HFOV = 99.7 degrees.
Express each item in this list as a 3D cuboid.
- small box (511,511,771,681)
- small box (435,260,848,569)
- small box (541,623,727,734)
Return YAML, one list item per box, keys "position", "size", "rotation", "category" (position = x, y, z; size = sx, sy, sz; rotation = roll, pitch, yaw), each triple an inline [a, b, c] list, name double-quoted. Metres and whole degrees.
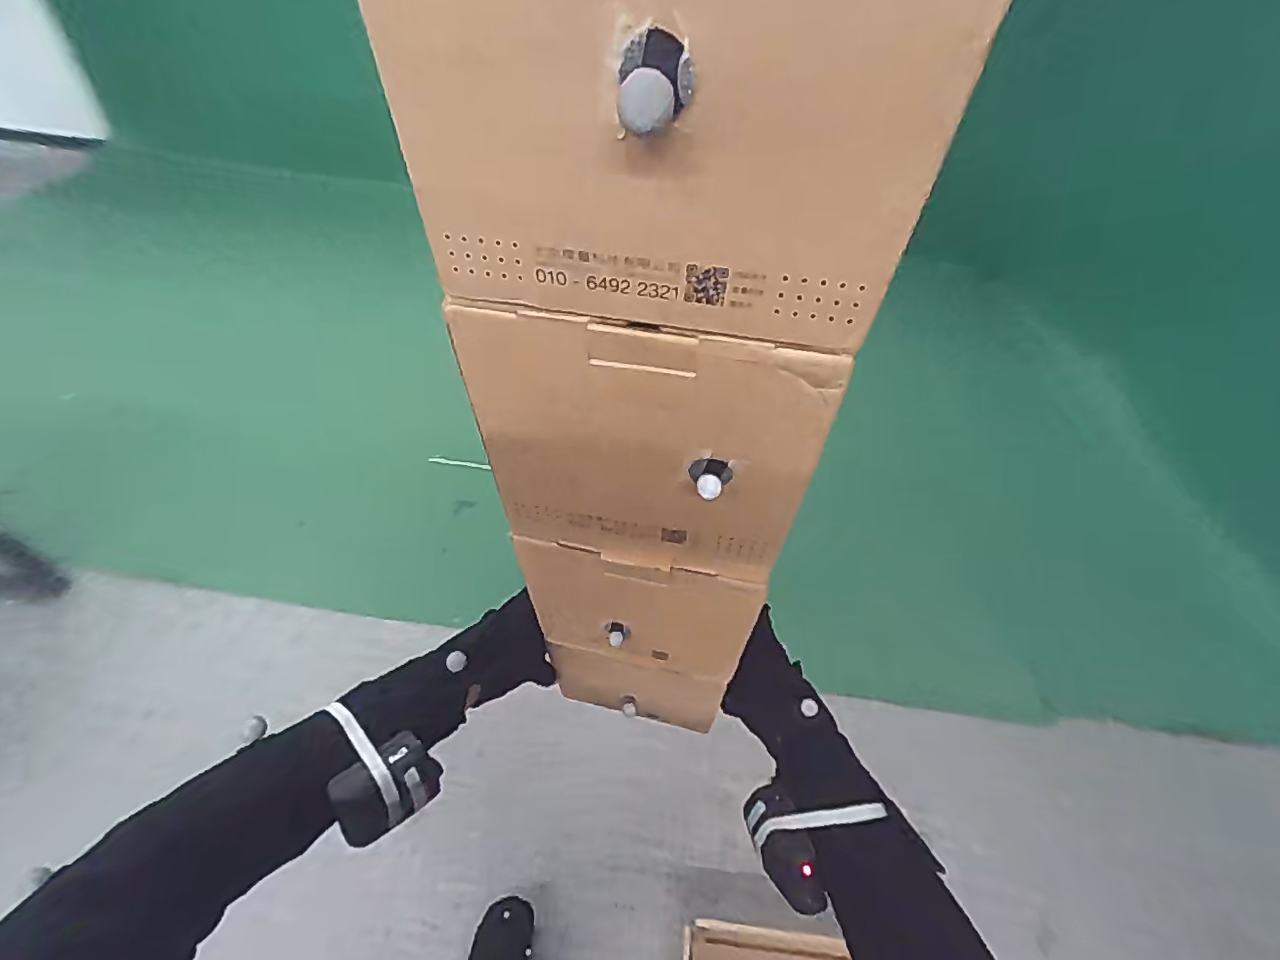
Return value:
- position: [0.012, 0.038, 0.442]
  size: [0.168, 0.176, 0.179]
  rotation: [10, 52, 7]
  category: "small box"
- position: [0.012, -0.068, 0.318]
  size: [0.168, 0.176, 0.179]
  rotation: [9, 52, 5]
  category: "small box"
- position: [0.010, 0.140, 0.569]
  size: [0.168, 0.176, 0.179]
  rotation: [11, 52, 8]
  category: "small box"
